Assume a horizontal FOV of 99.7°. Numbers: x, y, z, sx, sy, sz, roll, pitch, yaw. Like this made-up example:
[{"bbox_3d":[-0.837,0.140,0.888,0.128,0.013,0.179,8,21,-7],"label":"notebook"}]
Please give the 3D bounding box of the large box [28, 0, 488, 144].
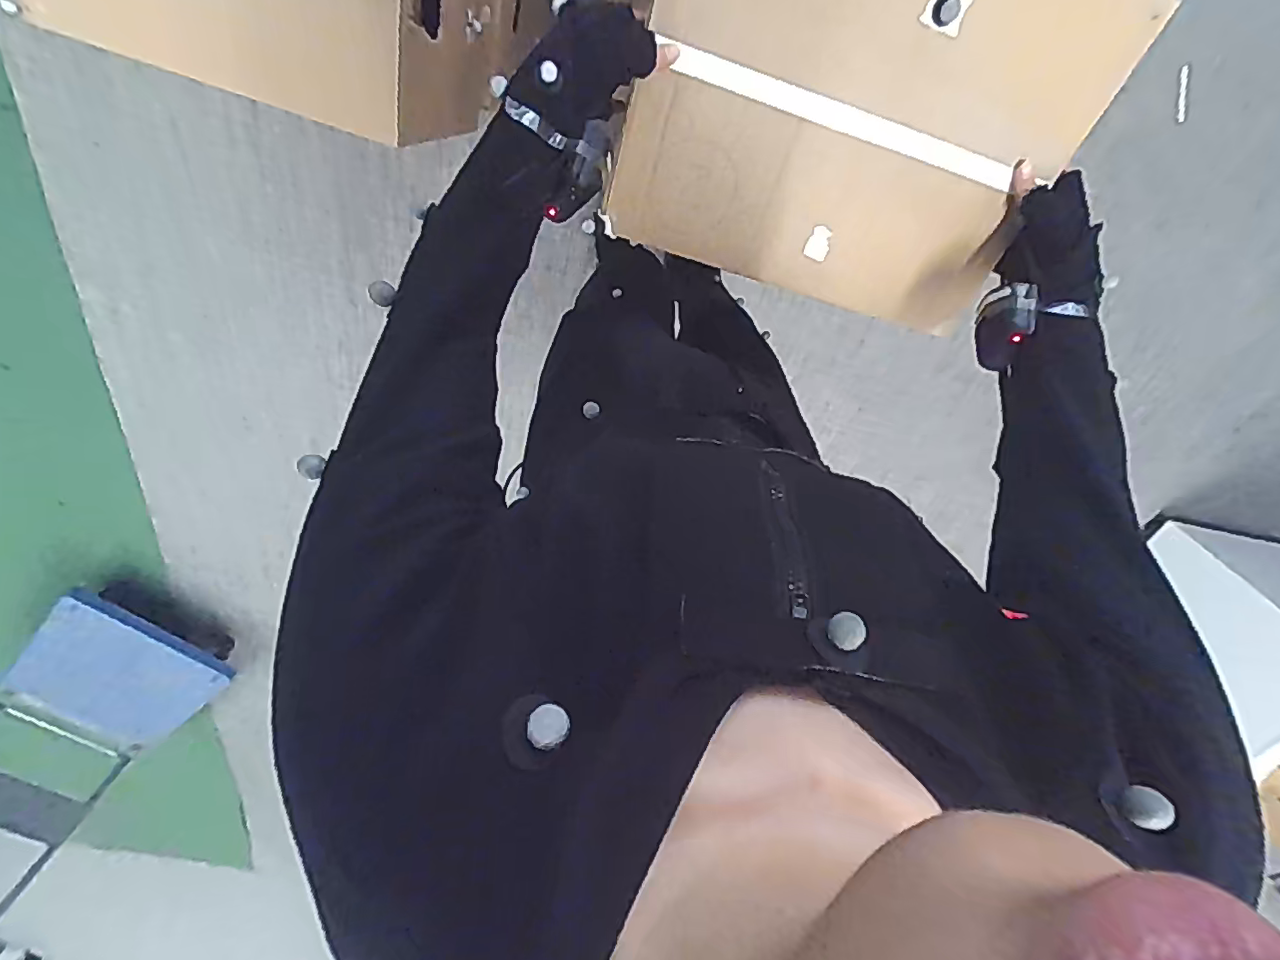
[{"bbox_3d":[-0.417,-0.648,0.643,0.408,0.320,0.320,16,125,-7],"label":"large box"}]
